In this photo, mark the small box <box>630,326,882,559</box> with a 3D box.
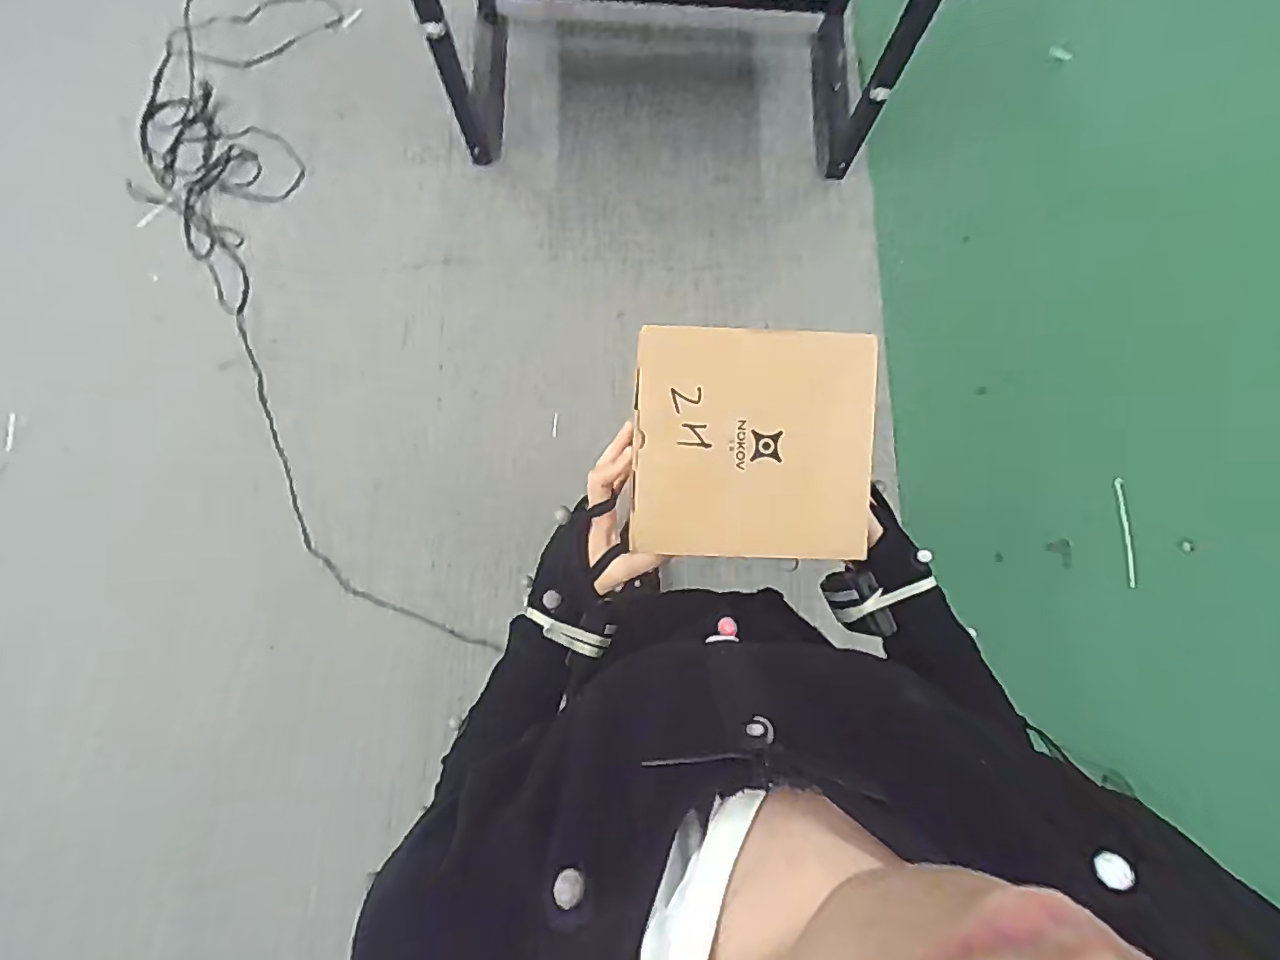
[{"bbox_3d":[0.084,-0.029,0.474,0.179,0.176,0.168,2,91,-2],"label":"small box"}]
